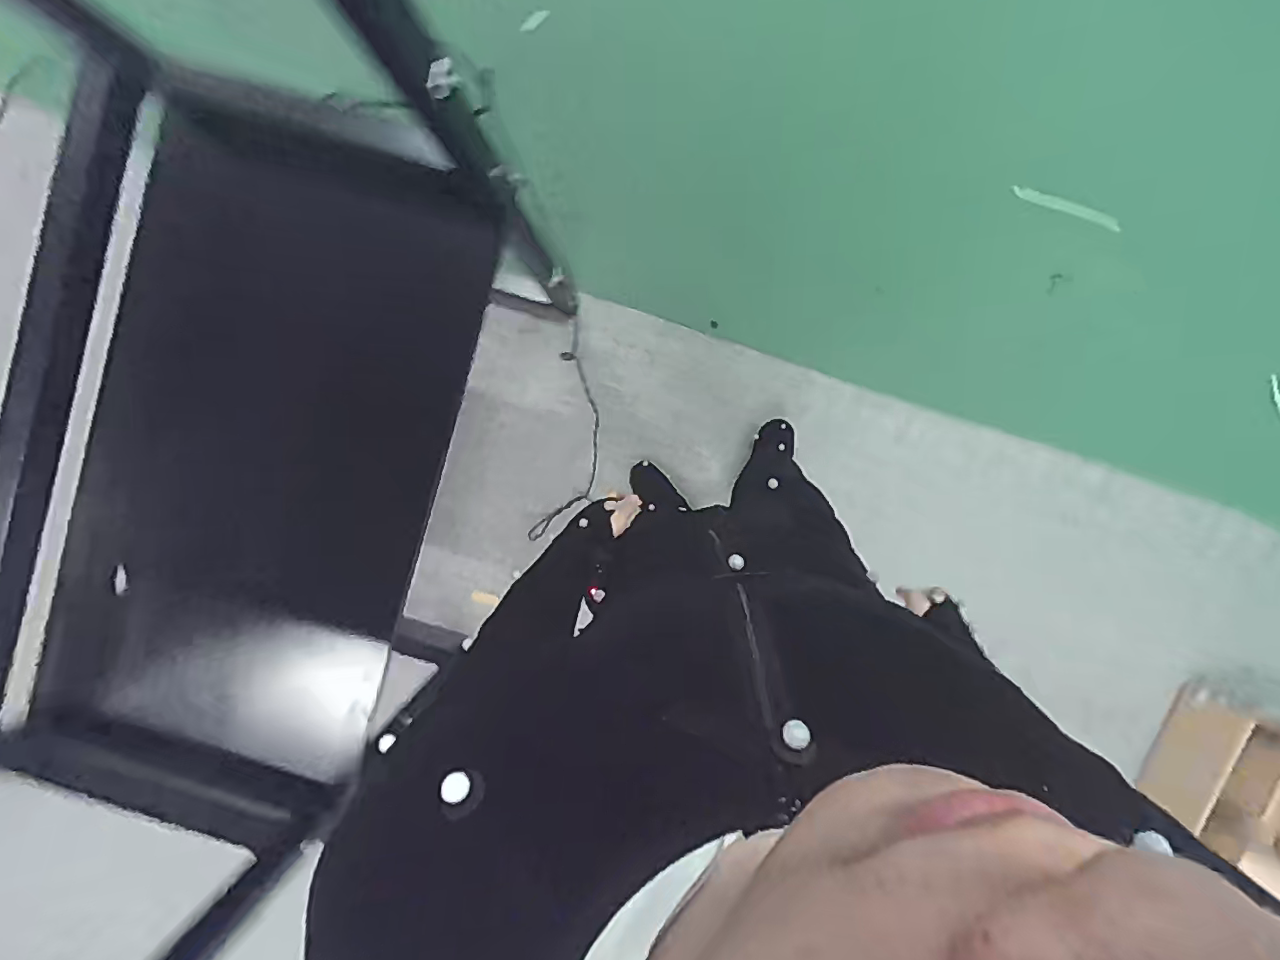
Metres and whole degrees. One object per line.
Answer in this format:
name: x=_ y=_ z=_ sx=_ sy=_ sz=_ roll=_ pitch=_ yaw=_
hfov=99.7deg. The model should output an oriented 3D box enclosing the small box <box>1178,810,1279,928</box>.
small box: x=1.668 y=1.073 z=1.499 sx=0.168 sy=0.176 sz=0.179 roll=23 pitch=94 yaw=1
